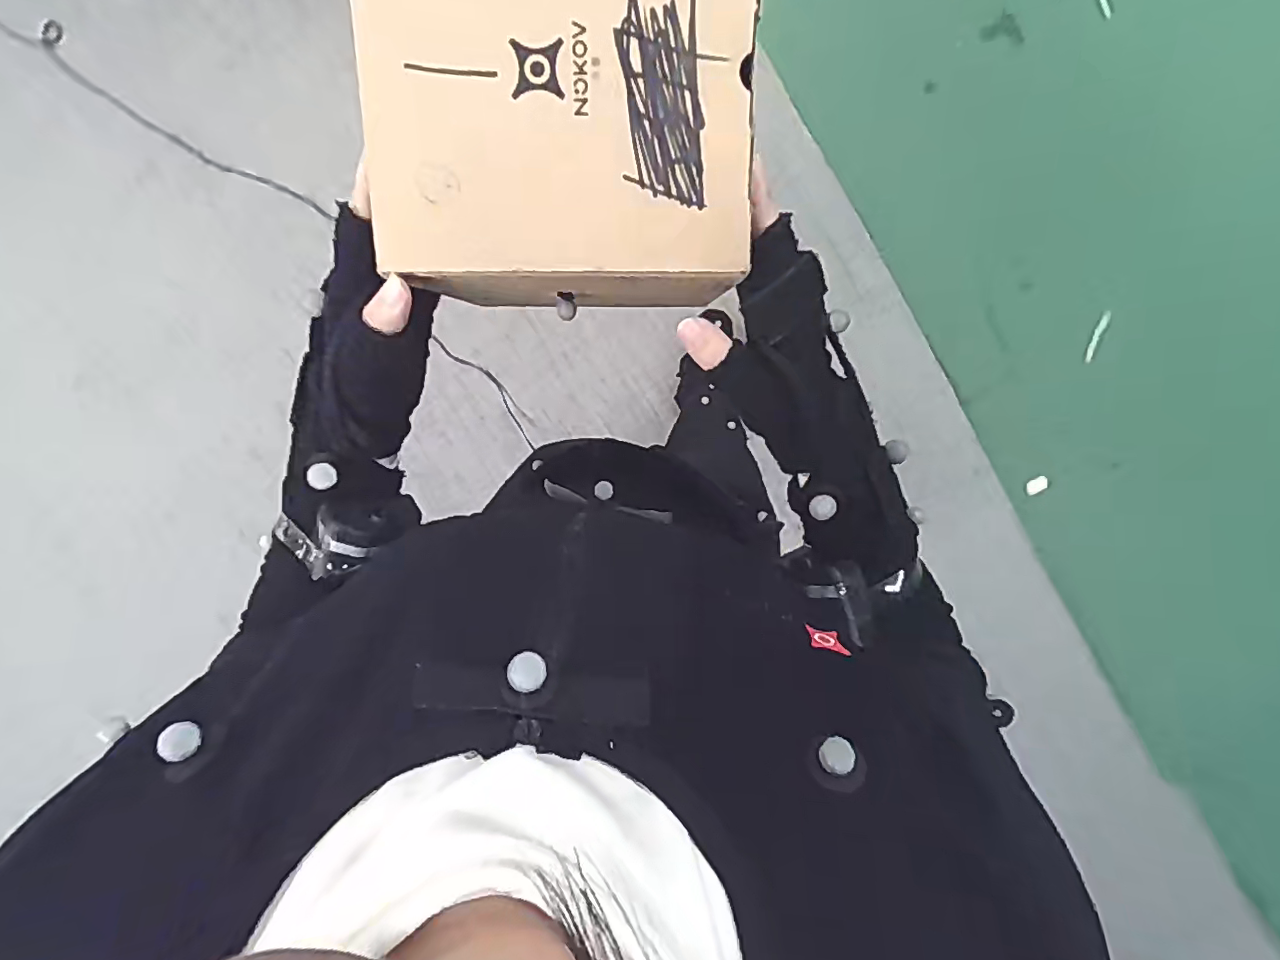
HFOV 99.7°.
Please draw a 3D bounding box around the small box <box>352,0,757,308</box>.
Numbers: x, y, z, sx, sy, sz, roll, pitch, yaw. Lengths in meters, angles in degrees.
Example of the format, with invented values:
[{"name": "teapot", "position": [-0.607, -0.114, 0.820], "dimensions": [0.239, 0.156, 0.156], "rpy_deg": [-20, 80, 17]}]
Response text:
[{"name": "small box", "position": [-0.037, -0.196, 0.319], "dimensions": [0.179, 0.176, 0.168], "rpy_deg": [-4, 103, 0]}]
